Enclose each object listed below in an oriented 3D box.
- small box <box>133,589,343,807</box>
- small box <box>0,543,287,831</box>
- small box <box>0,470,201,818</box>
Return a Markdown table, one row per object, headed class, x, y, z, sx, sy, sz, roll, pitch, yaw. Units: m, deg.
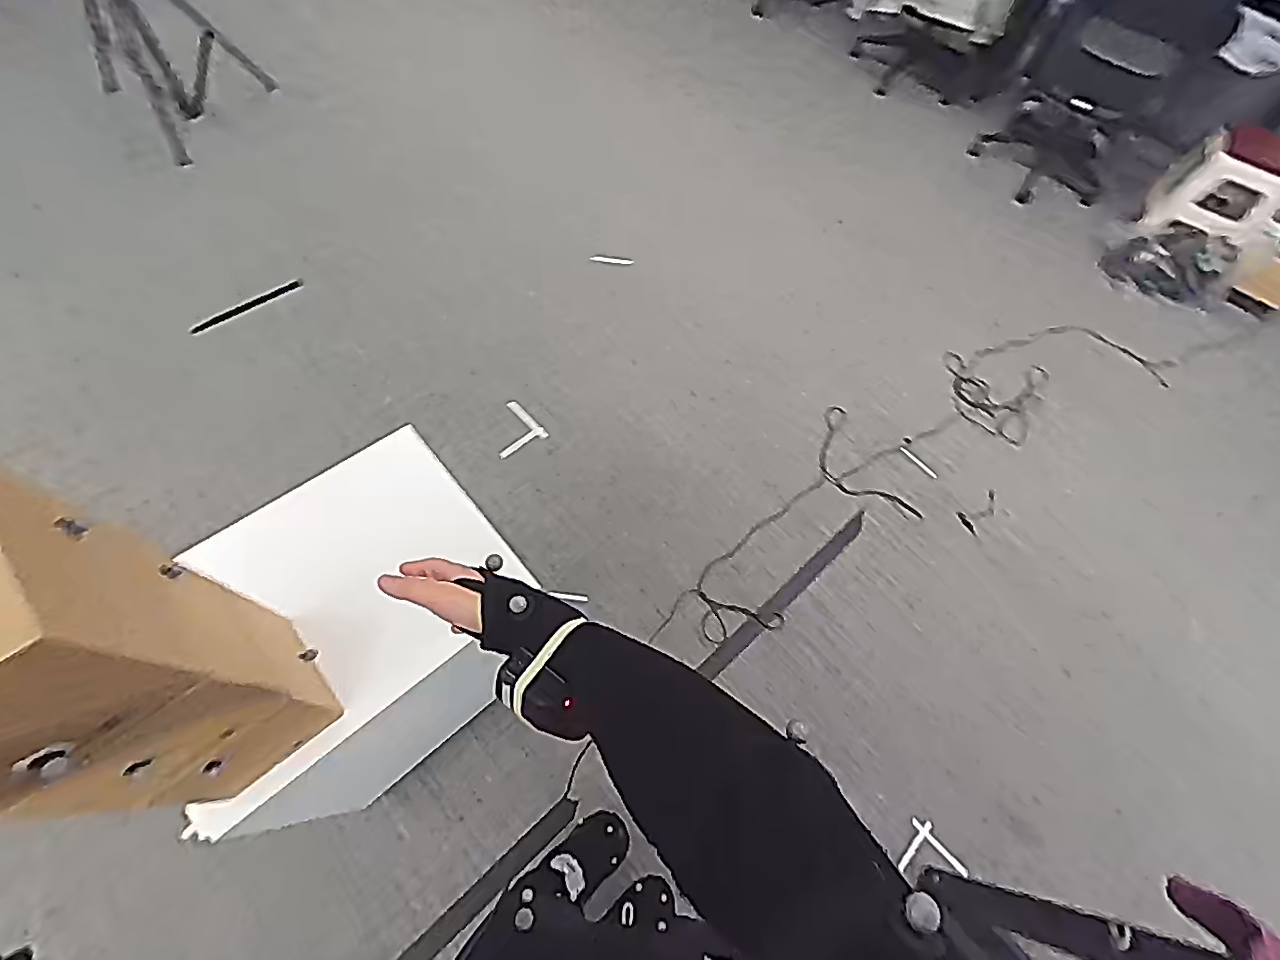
| class | x | y | z | sx | sy | sz | roll | pitch | yaw |
| --- | --- | --- | --- | --- | --- | --- | --- | --- | --- |
| small box | -0.514 | 0.274 | 0.675 | 0.168 | 0.176 | 0.179 | -37 | 71 | -23 |
| small box | -0.495 | 0.198 | 0.531 | 0.168 | 0.176 | 0.179 | -38 | 72 | -23 |
| small box | -0.480 | 0.121 | 0.389 | 0.168 | 0.176 | 0.179 | -38 | 73 | -22 |
